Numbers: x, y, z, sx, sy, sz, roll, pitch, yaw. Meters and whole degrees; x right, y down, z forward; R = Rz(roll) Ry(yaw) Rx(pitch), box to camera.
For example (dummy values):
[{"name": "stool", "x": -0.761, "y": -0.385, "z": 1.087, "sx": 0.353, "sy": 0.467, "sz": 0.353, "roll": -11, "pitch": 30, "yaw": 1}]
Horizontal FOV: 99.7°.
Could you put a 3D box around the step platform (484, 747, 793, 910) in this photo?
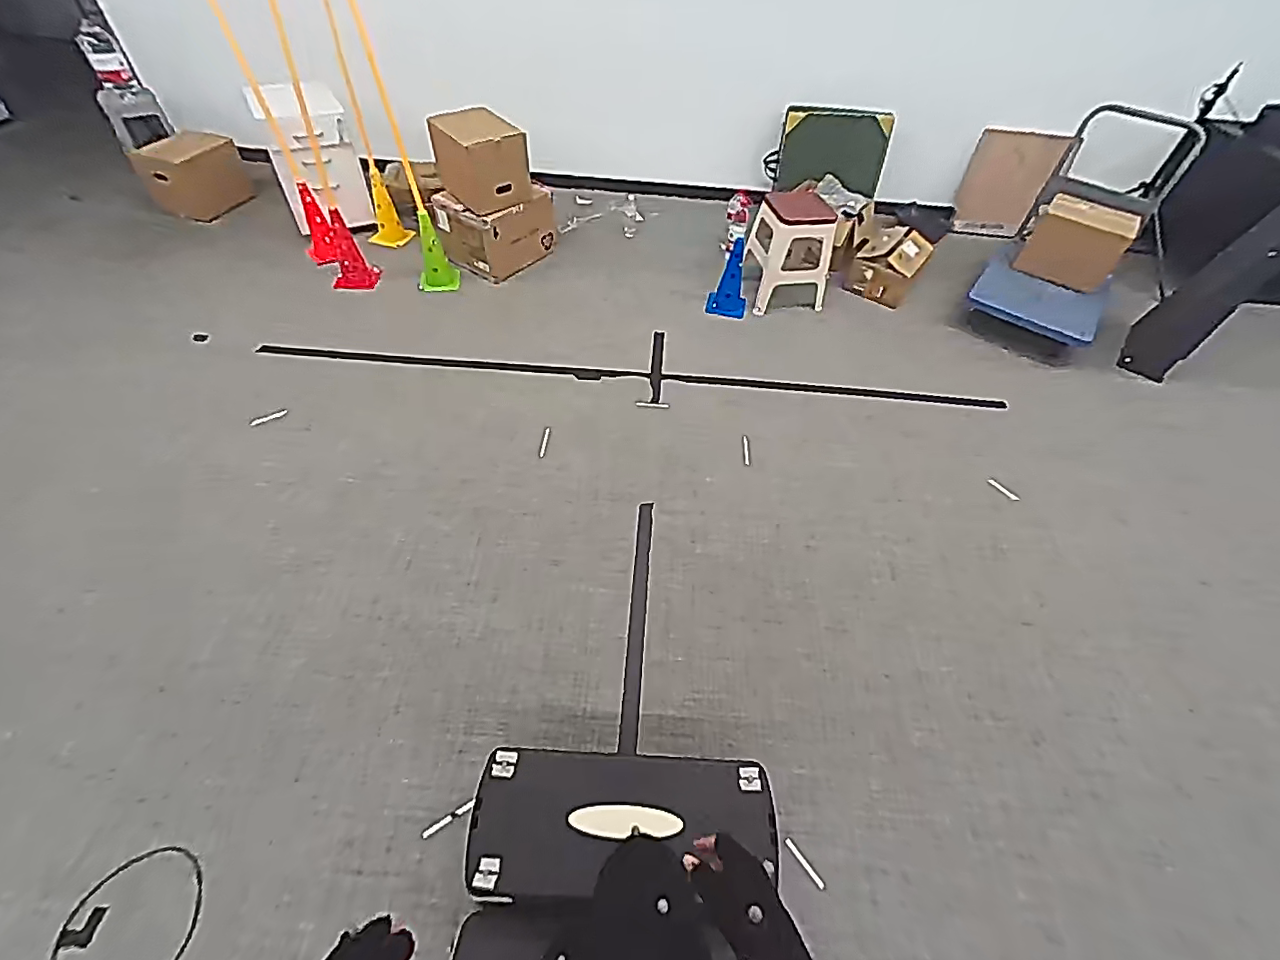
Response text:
[{"name": "step platform", "x": -0.004, "y": 0.799, "z": 1.247, "sx": 0.684, "sy": 0.204, "sz": 0.286, "roll": 4, "pitch": 50, "yaw": -2}]
